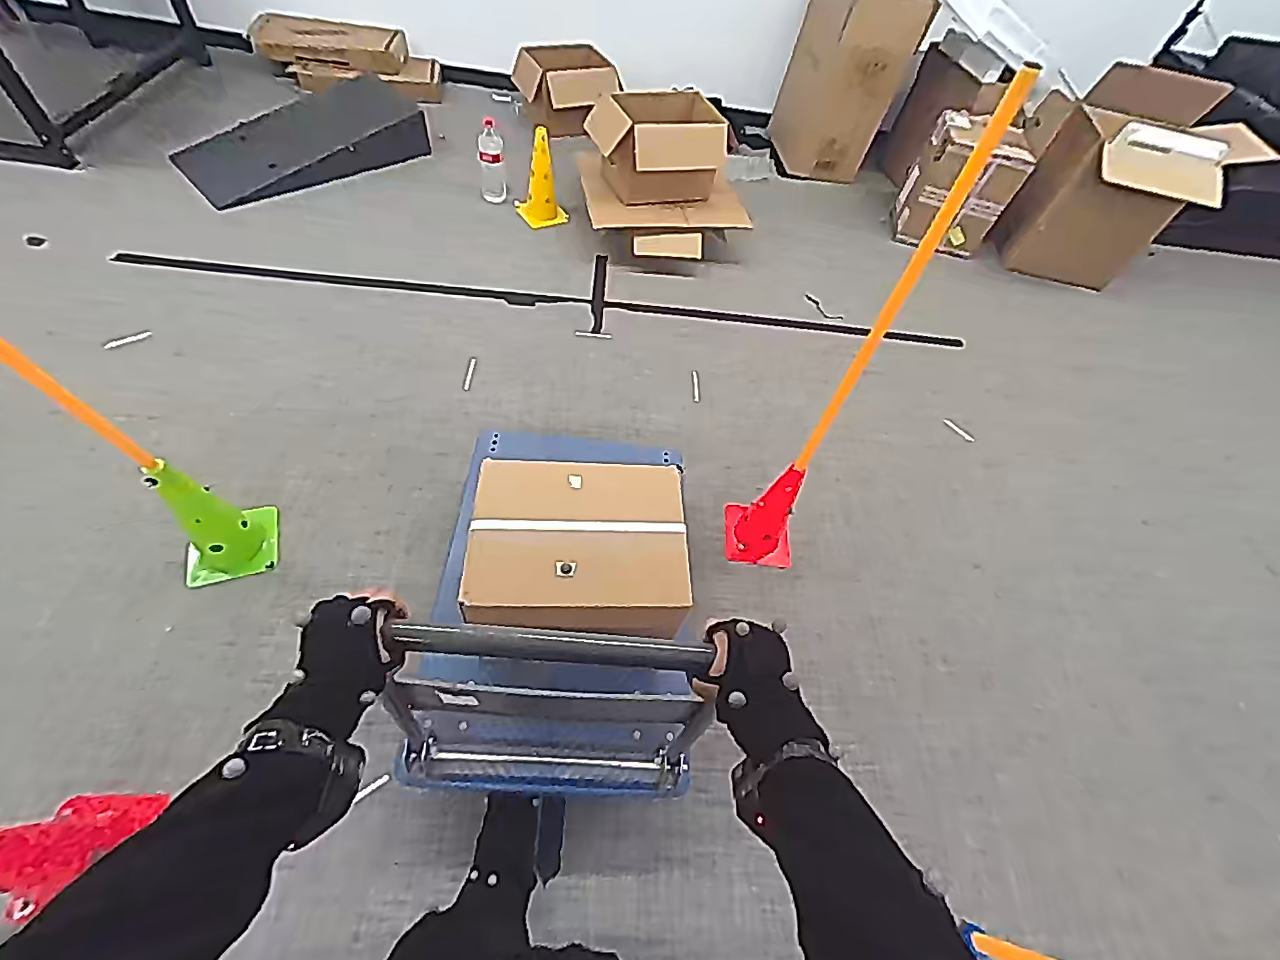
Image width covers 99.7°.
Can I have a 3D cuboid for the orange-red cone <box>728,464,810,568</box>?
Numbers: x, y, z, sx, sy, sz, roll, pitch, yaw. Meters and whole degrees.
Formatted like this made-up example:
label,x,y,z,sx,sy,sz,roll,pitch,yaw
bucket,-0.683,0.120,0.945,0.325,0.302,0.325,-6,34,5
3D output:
label,x,y,z,sx,sy,sz,roll,pitch,yaw
orange-red cone,0.391,0.071,1.504,0.199,0.360,0.198,10,55,-3
